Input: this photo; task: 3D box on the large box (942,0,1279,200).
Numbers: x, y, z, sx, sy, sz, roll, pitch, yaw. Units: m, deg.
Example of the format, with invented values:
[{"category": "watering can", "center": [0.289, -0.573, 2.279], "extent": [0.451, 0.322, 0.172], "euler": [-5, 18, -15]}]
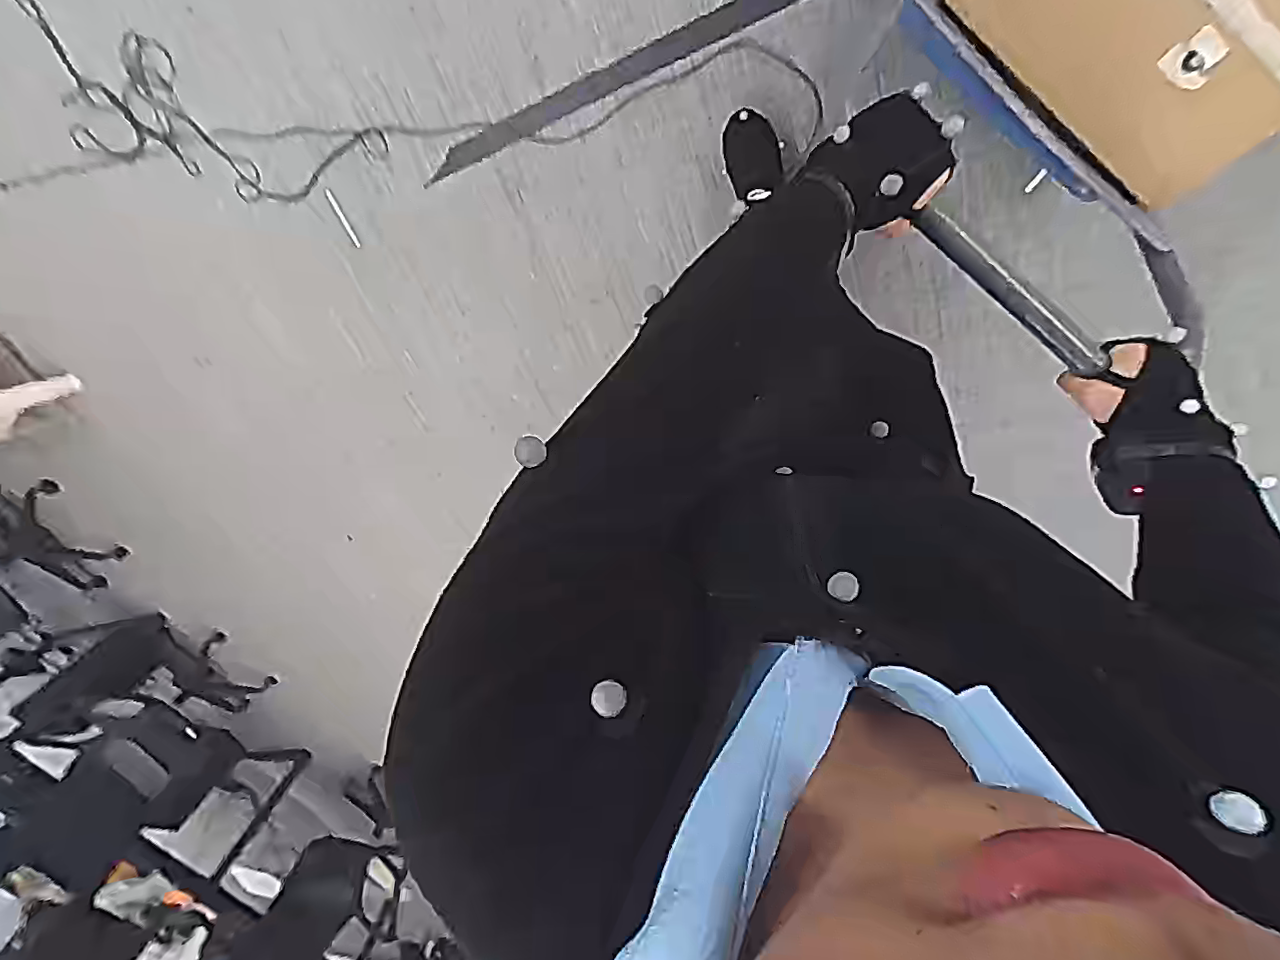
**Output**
[{"category": "large box", "center": [0.649, -0.657, 0.683], "extent": [0.408, 0.320, 0.320], "euler": [34, 140, -11]}]
